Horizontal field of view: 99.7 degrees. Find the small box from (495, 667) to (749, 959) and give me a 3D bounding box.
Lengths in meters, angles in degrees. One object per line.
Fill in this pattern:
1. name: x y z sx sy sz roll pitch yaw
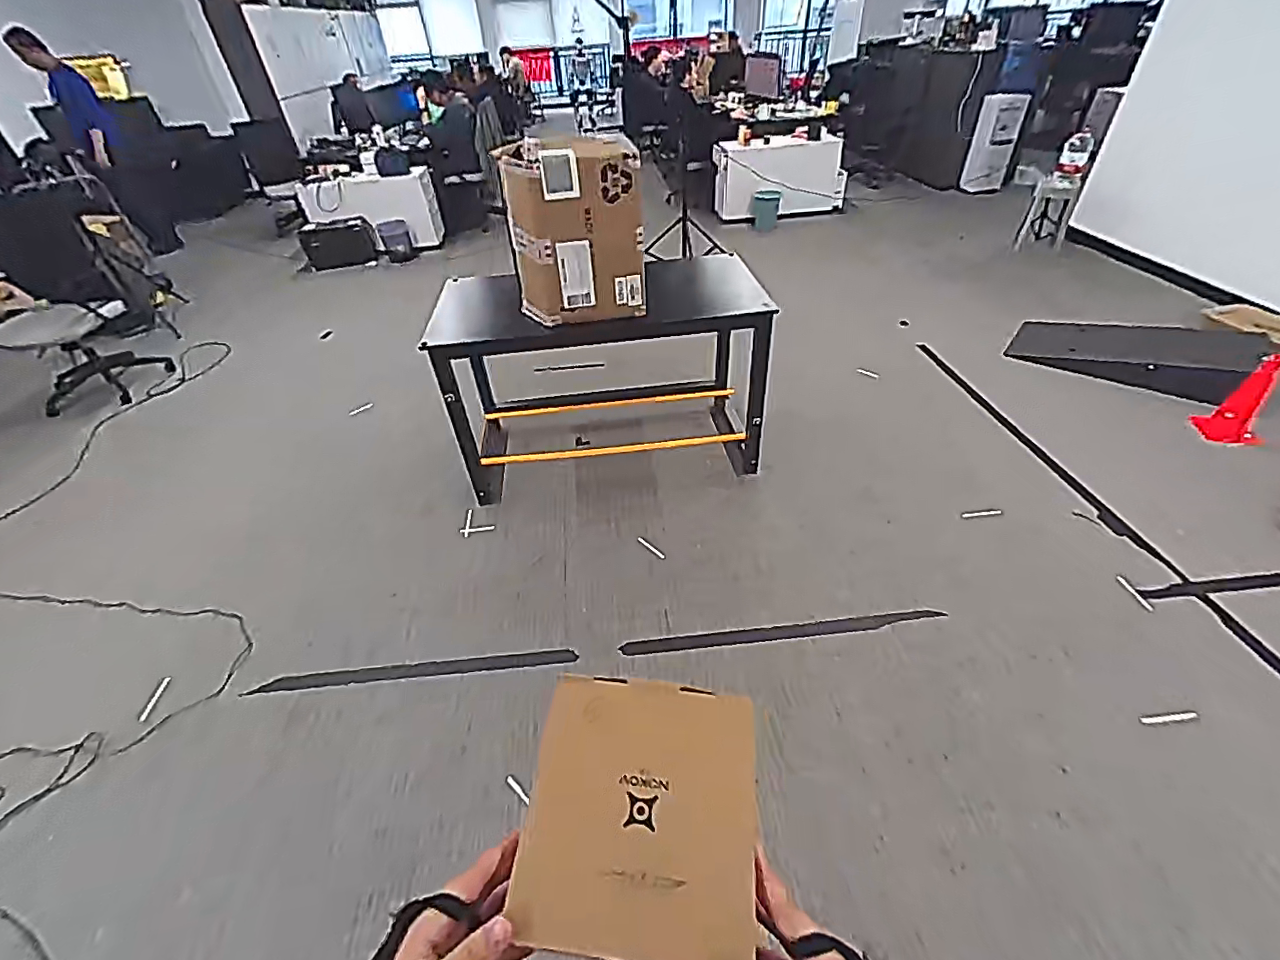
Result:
1. small box: -0.004 0.281 0.455 0.168 0.176 0.179 5 52 5
